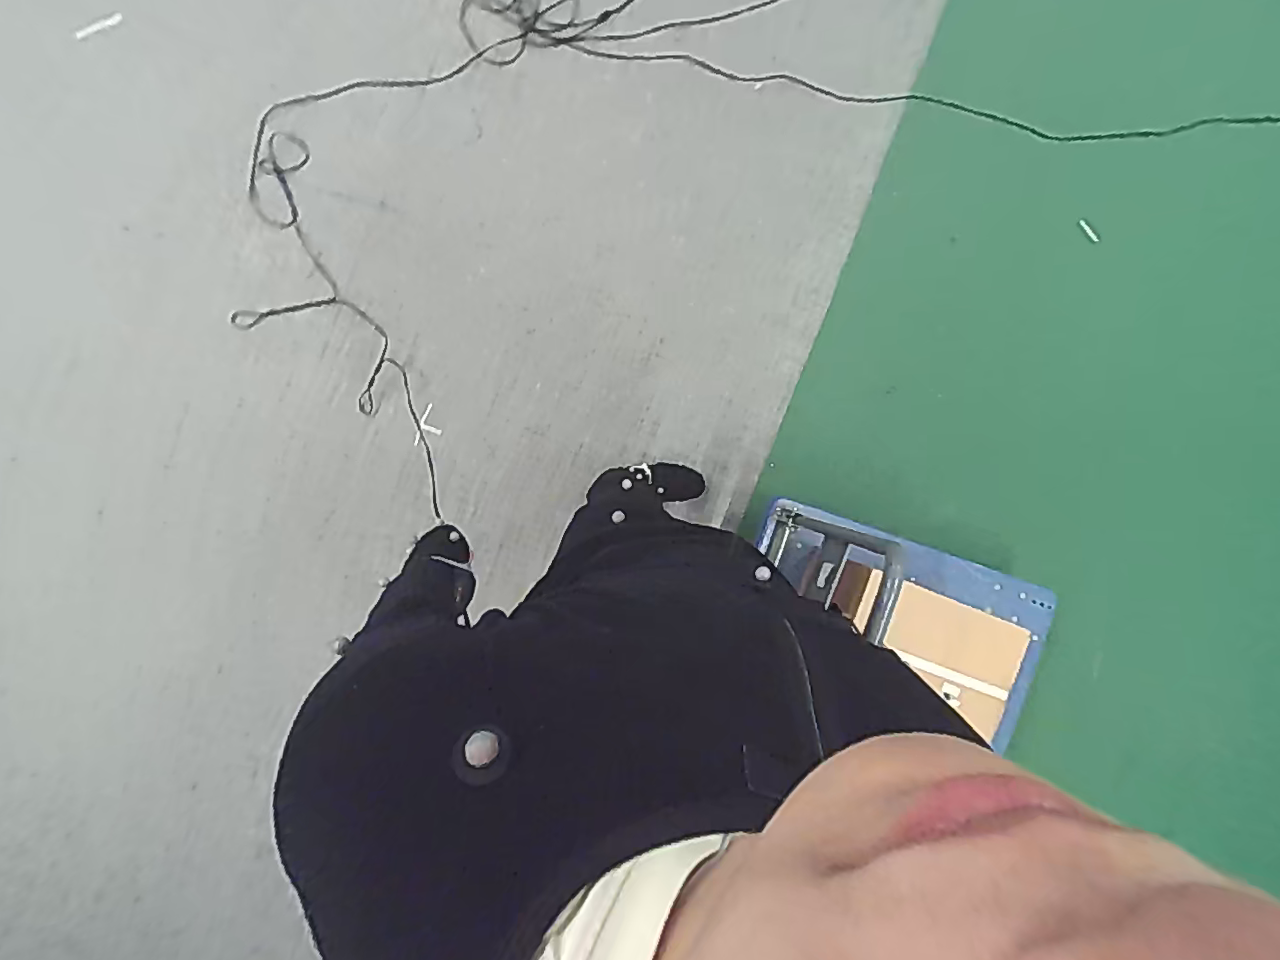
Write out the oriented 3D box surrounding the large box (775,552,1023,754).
[{"bbox_3d":[0.612,0.403,1.346,0.408,0.320,0.320,22,90,-5],"label":"large box"}]
